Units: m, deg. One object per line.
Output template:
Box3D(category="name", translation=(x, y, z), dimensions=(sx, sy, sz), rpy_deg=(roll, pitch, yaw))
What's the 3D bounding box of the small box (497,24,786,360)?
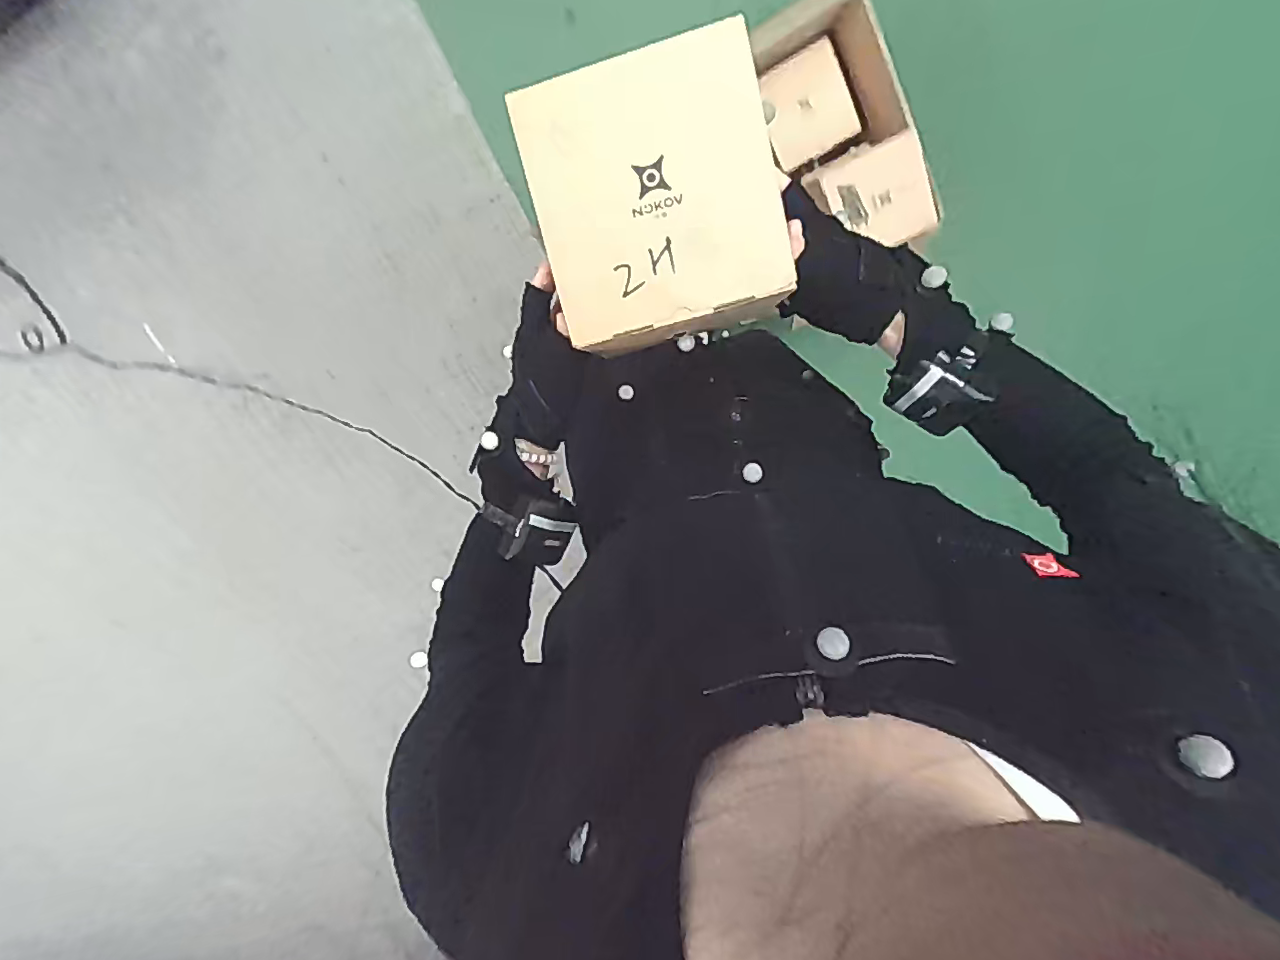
Box3D(category="small box", translation=(0.007, -0.206, 0.445), dimensions=(0.168, 0.176, 0.179), rpy_deg=(-14, 100, 7))
